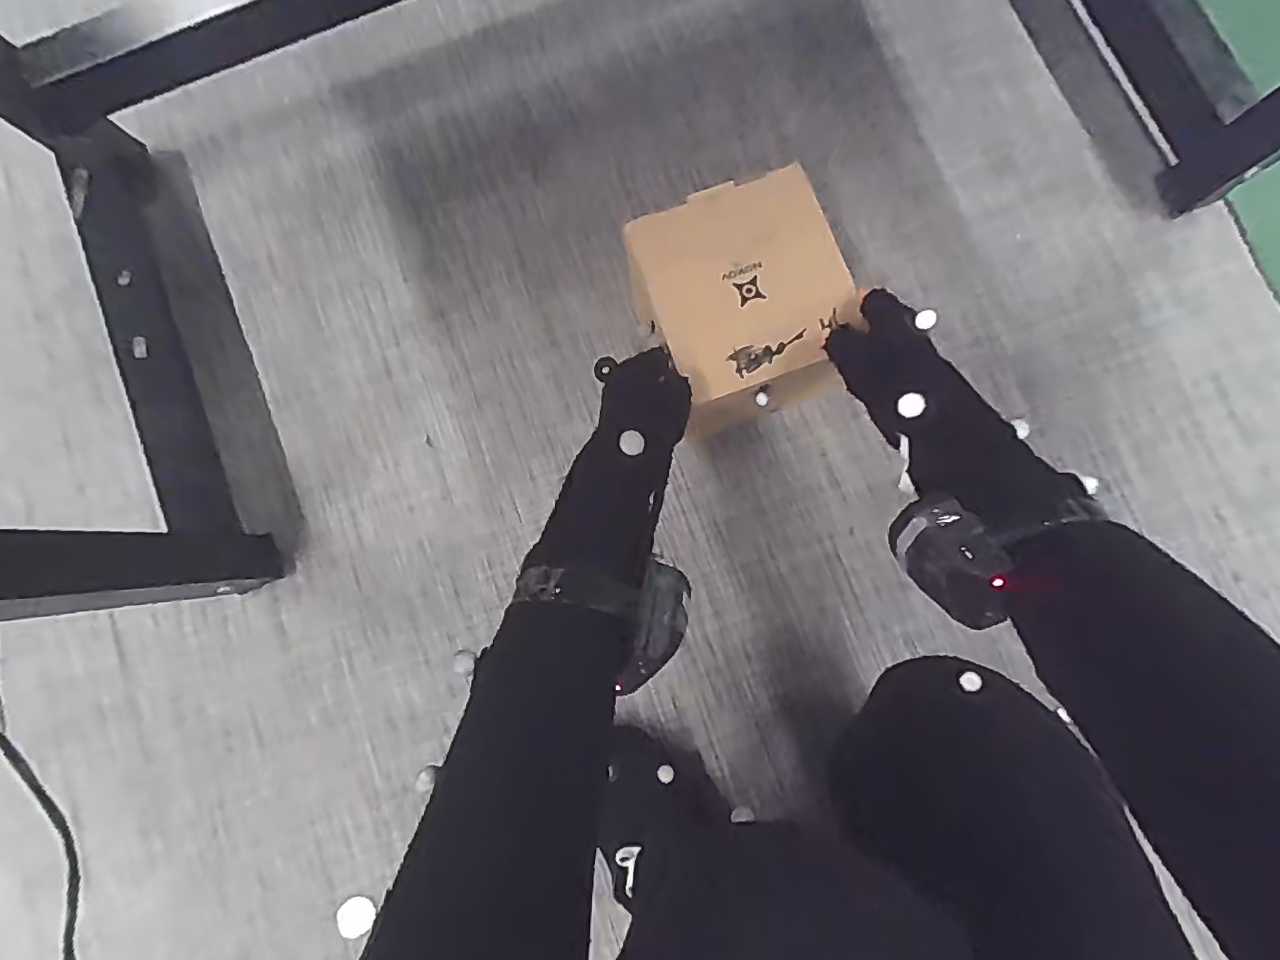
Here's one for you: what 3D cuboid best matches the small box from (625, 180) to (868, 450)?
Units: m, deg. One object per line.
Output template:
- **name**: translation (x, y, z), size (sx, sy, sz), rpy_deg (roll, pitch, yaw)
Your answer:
- **small box**: translation (0.091, -0.147, 0.541), size (0.168, 0.176, 0.179), rpy_deg (-19, 81, 1)
